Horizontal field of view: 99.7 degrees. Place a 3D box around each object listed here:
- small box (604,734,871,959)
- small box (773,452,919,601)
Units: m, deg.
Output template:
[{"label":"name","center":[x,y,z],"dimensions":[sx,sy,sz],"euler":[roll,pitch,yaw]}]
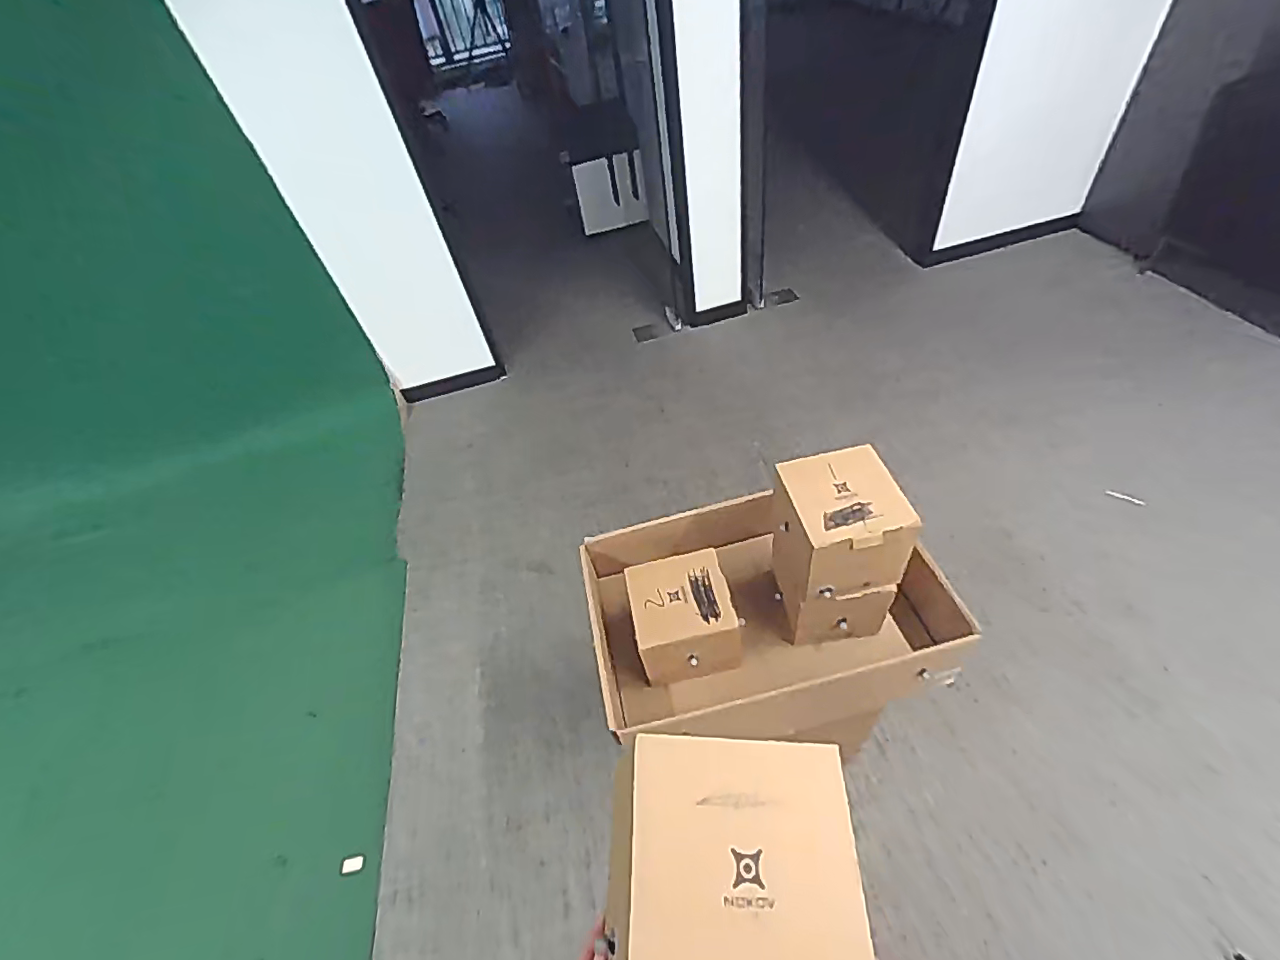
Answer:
[{"label":"small box","center":[0.063,0.324,0.439],"dimensions":[0.168,0.176,0.179],"euler":[7,52,-6]},{"label":"small box","center":[0.328,0.084,0.901],"dimensions":[0.168,0.176,0.179],"euler":[-12,46,0]}]
